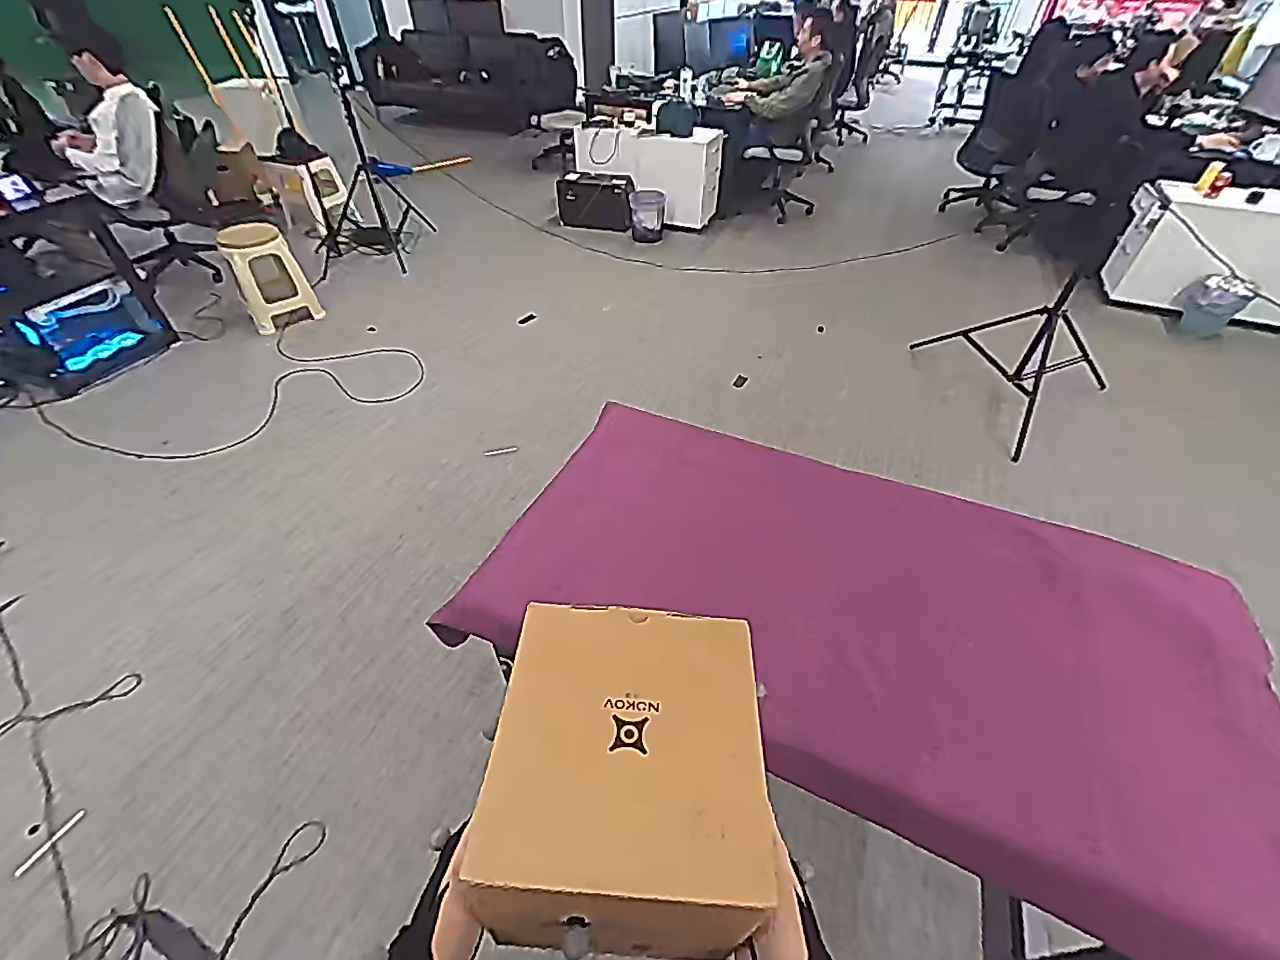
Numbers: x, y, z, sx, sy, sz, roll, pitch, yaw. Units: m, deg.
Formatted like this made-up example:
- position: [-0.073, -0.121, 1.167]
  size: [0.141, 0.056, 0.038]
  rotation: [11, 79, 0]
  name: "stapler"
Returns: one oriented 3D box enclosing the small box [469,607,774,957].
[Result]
- position: [-0.008, 0.219, 0.396]
  size: [0.168, 0.176, 0.179]
  rotation: [4, 40, 0]
  name: "small box"
